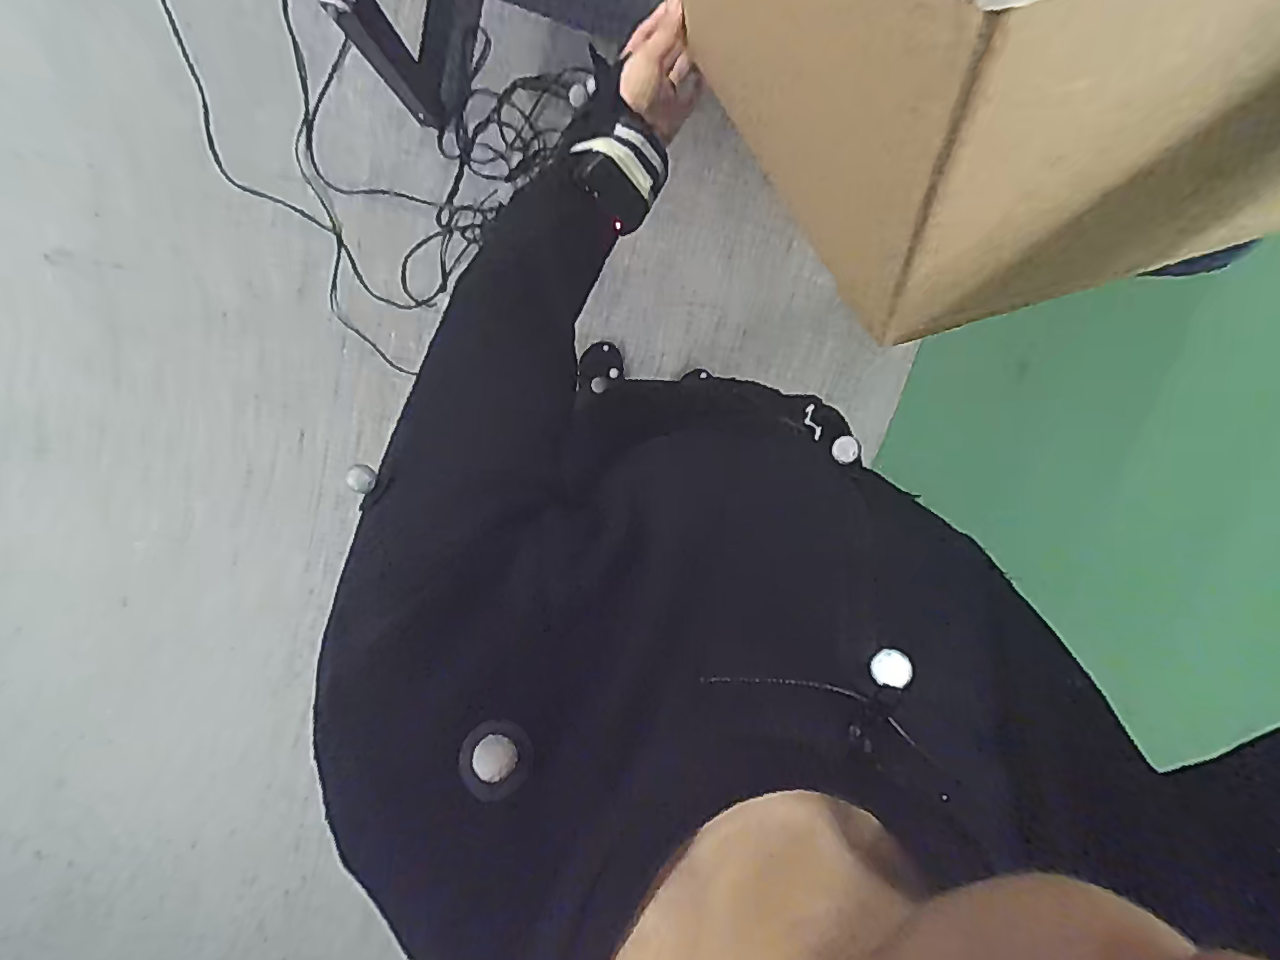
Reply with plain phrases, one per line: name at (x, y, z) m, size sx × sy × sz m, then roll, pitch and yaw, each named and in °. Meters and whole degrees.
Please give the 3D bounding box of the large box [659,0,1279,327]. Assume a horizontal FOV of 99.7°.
large box at (0.189, -0.352, 0.242) m, size 0.320 × 0.320 × 0.408 m, roll -18°, pitch 61°, yaw 0°
